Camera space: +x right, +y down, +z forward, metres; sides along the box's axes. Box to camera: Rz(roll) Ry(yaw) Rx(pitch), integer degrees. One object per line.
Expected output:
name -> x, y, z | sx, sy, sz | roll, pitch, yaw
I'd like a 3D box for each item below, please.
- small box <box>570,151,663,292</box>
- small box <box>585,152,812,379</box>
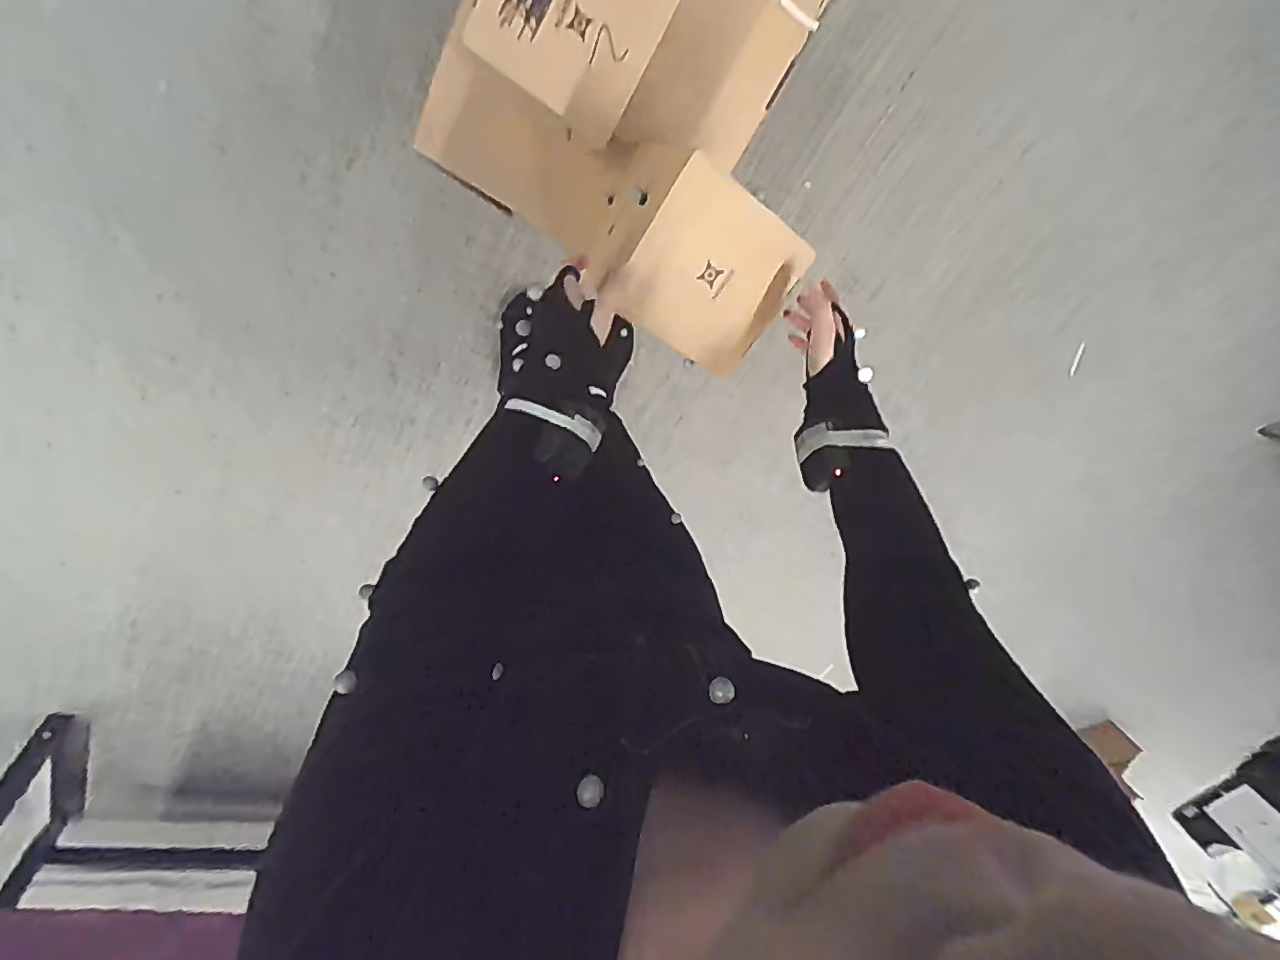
small box -> 0.013, -0.334, 0.765 | 0.168, 0.176, 0.179 | 24, 113, -27
small box -> 0.054, -0.250, 0.631 | 0.179, 0.176, 0.168 | 24, 112, -28
